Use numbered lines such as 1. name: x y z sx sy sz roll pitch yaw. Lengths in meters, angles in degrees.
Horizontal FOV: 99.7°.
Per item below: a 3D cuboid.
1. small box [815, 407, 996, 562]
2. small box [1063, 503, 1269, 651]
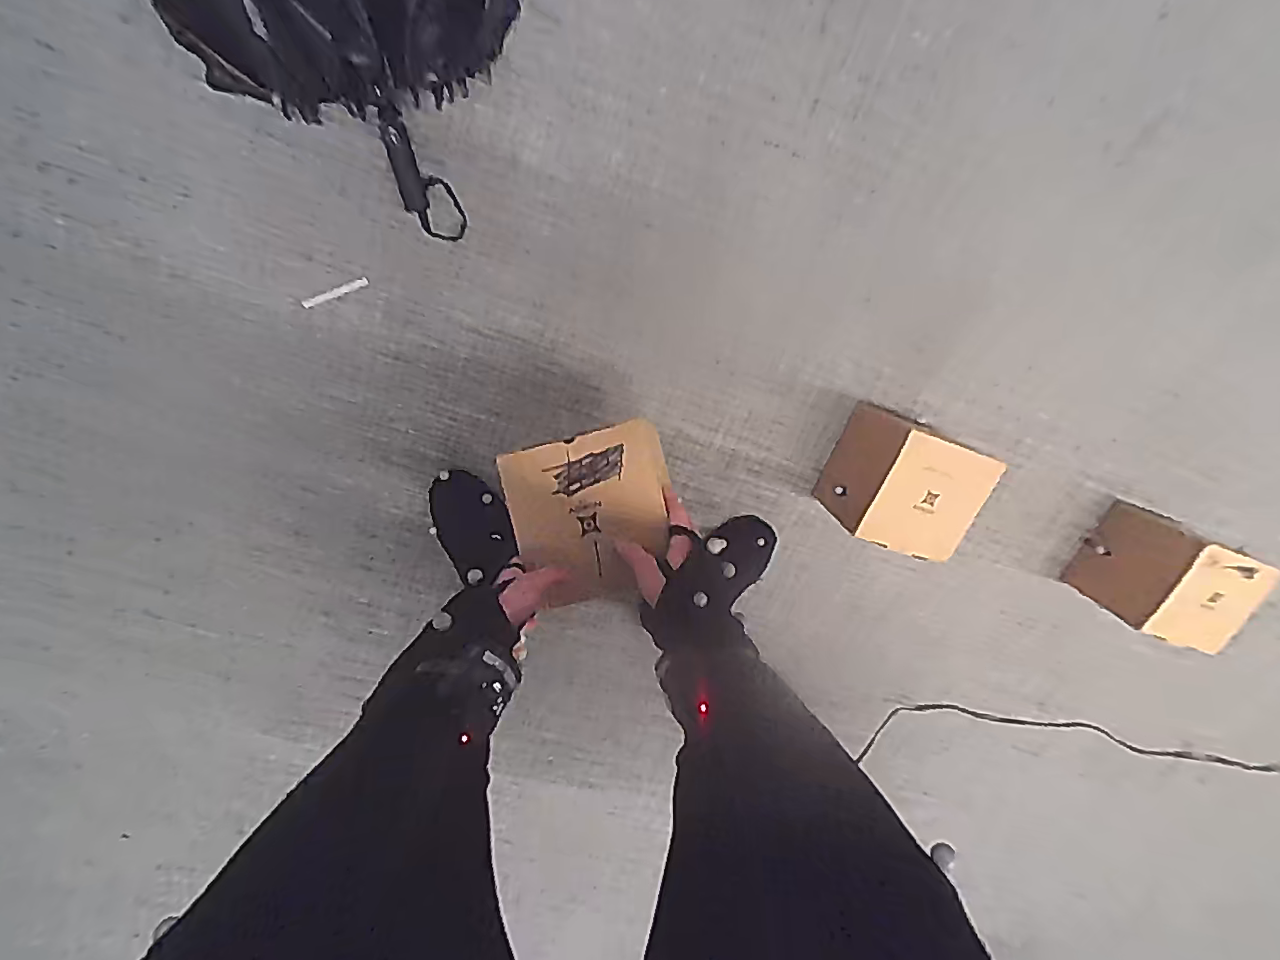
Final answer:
1. small box: 0.406 0.000 0.867 0.168 0.176 0.179 17 107 -11
2. small box: 0.917 0.167 0.968 0.168 0.176 0.179 18 108 -11
